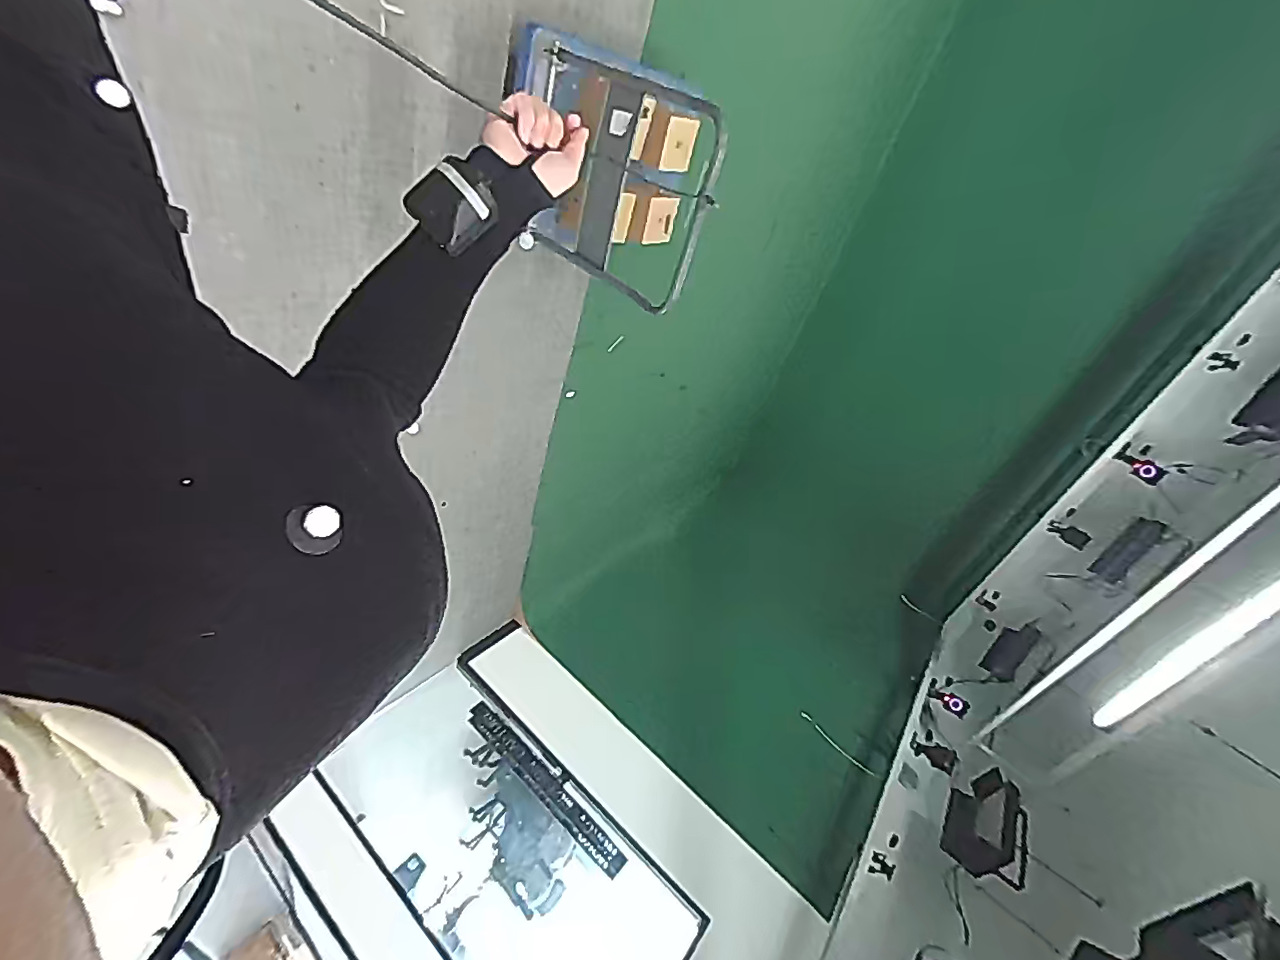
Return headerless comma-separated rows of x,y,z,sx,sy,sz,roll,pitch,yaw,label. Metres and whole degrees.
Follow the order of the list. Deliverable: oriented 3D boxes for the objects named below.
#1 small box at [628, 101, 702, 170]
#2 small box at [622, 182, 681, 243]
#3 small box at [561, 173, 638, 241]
0.083,-1.214,1.908,0.179,0.176,0.168,-30,148,-44,small box
0.024,-1.024,2.063,0.179,0.176,0.168,-28,146,-43,small box
-0.142,-0.941,1.867,0.179,0.176,0.168,-25,144,-47,small box
